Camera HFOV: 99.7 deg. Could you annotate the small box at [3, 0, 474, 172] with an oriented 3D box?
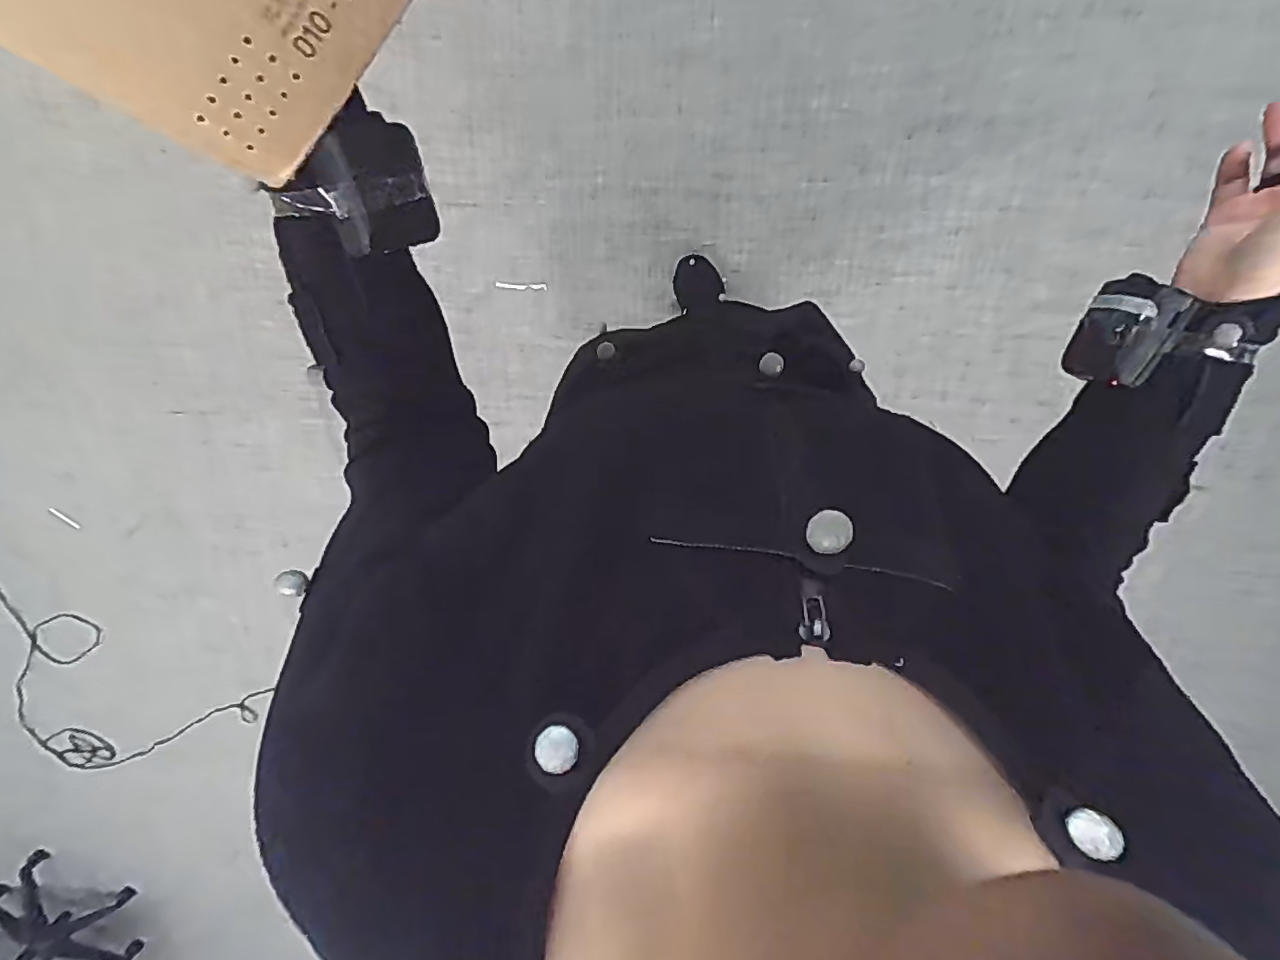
[{"bbox_3d":[-0.130,-0.215,0.116,0.168,0.176,0.179,-42,71,18],"label":"small box"}]
